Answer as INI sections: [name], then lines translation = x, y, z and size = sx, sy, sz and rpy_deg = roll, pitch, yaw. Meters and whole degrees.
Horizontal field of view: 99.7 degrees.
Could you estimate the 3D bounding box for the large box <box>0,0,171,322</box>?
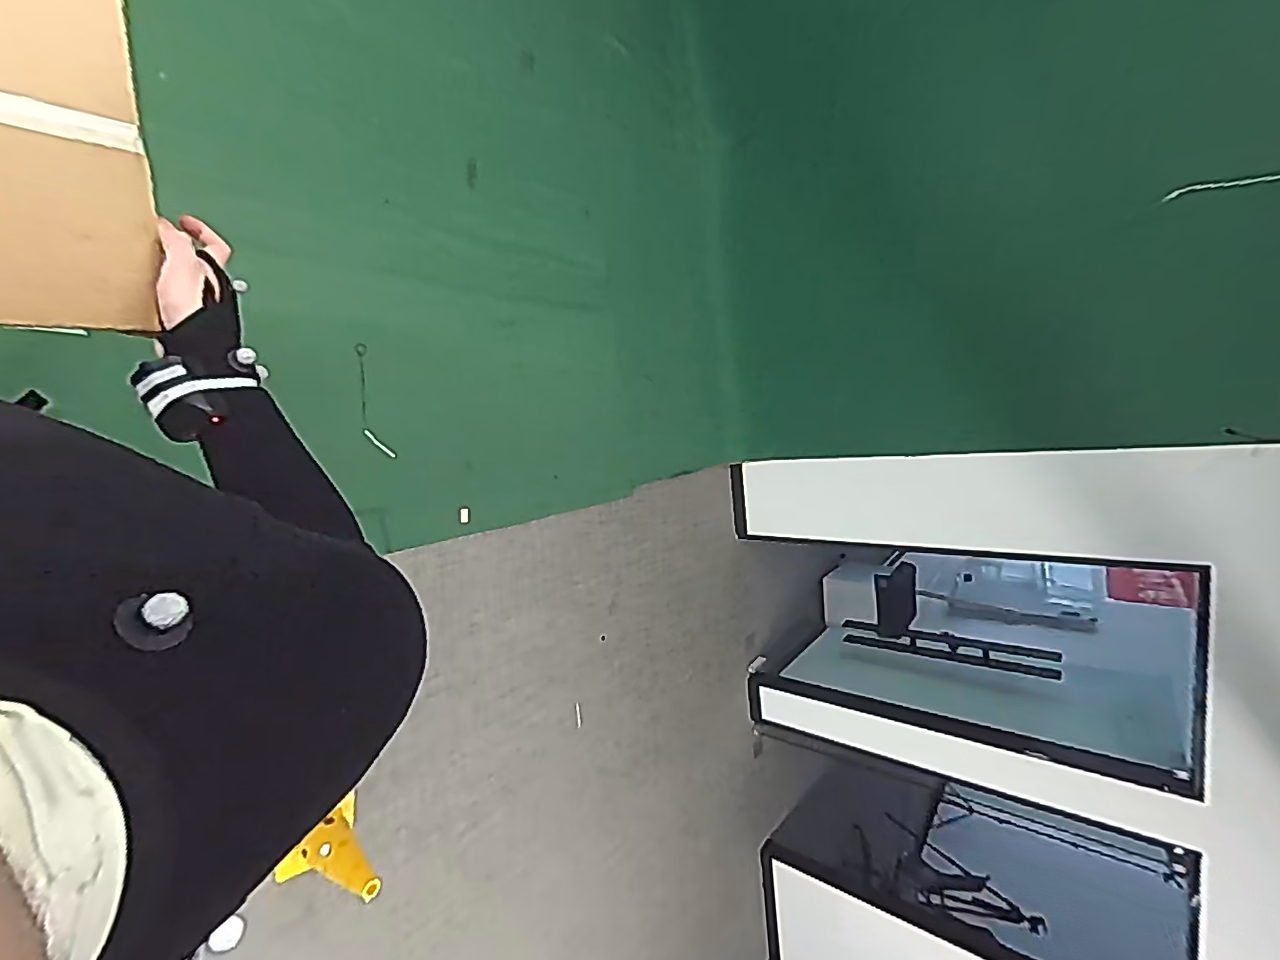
[large box]
translation = -0.668, -0.296, 0.397
size = 0.408, 0.320, 0.320
rpy_deg = -16, 120, -50
